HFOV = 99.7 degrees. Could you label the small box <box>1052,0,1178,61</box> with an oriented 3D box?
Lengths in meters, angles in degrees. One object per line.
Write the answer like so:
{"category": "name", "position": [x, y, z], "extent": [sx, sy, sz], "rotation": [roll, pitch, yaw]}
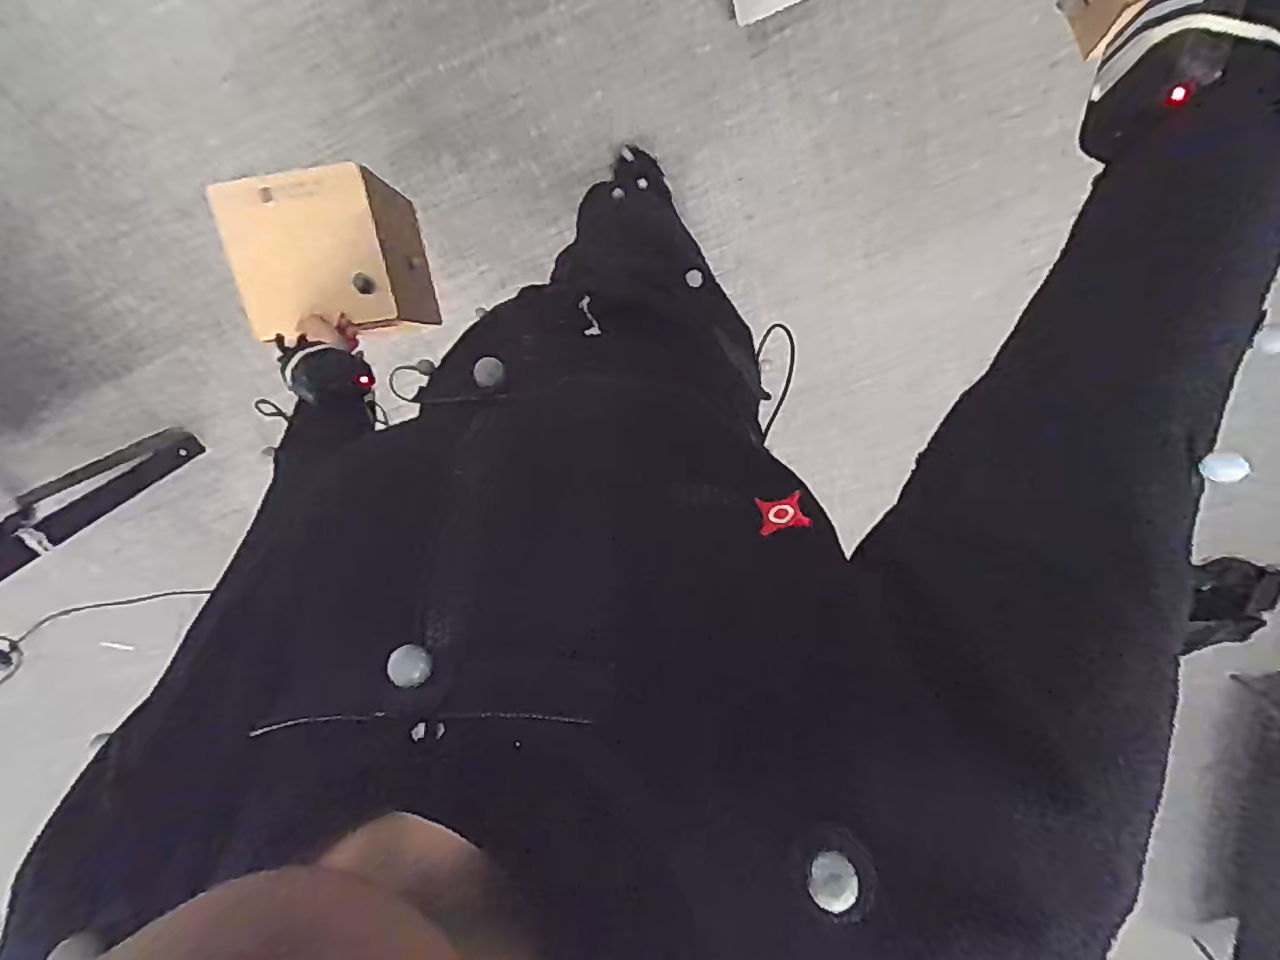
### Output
{"category": "small box", "position": [0.381, -0.445, 0.370], "extent": [0.168, 0.179, 0.176], "rotation": [-23, 101, 37]}
